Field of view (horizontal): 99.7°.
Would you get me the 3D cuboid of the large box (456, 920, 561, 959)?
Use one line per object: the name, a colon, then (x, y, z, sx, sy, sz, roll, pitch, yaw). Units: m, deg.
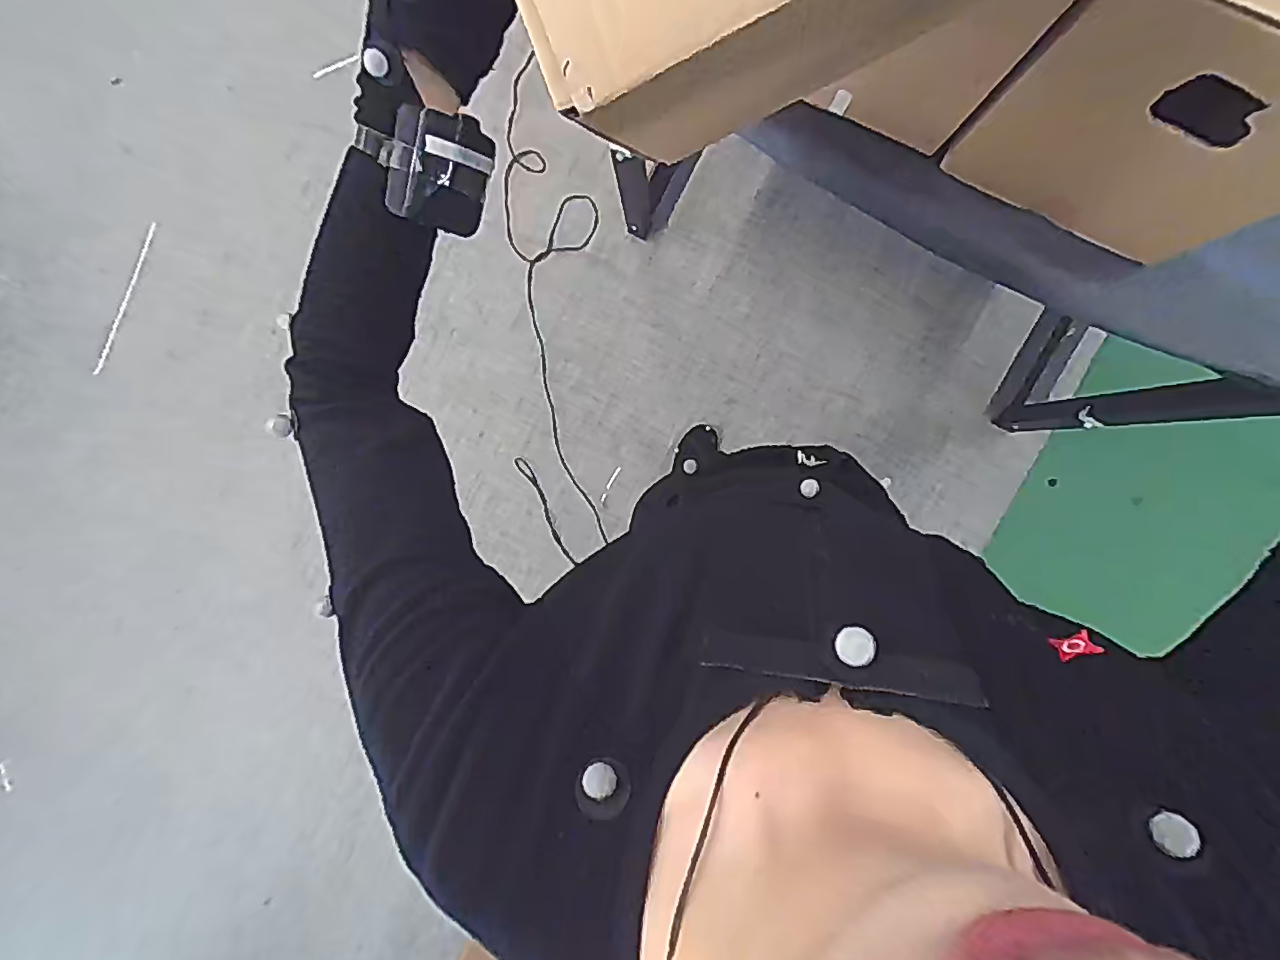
large box: (-0.379, 1.529, 1.467, 0.408, 0.320, 0.320, 27, 94, 1)
